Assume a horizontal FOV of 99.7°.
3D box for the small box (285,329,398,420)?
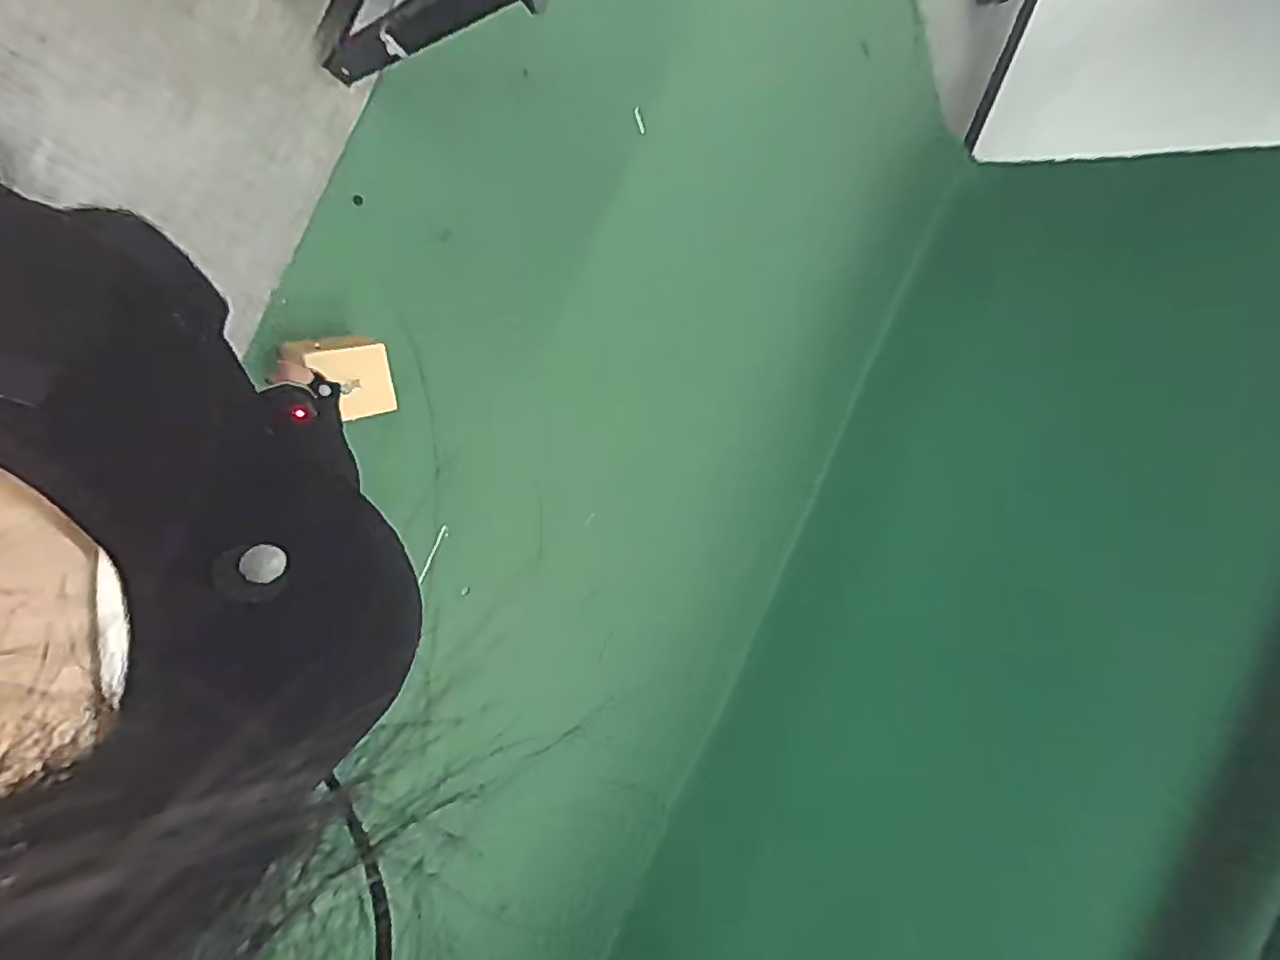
[{"bbox_3d":[-0.713,-0.260,1.294,0.179,0.176,0.168,-23,124,-38],"label":"small box"}]
